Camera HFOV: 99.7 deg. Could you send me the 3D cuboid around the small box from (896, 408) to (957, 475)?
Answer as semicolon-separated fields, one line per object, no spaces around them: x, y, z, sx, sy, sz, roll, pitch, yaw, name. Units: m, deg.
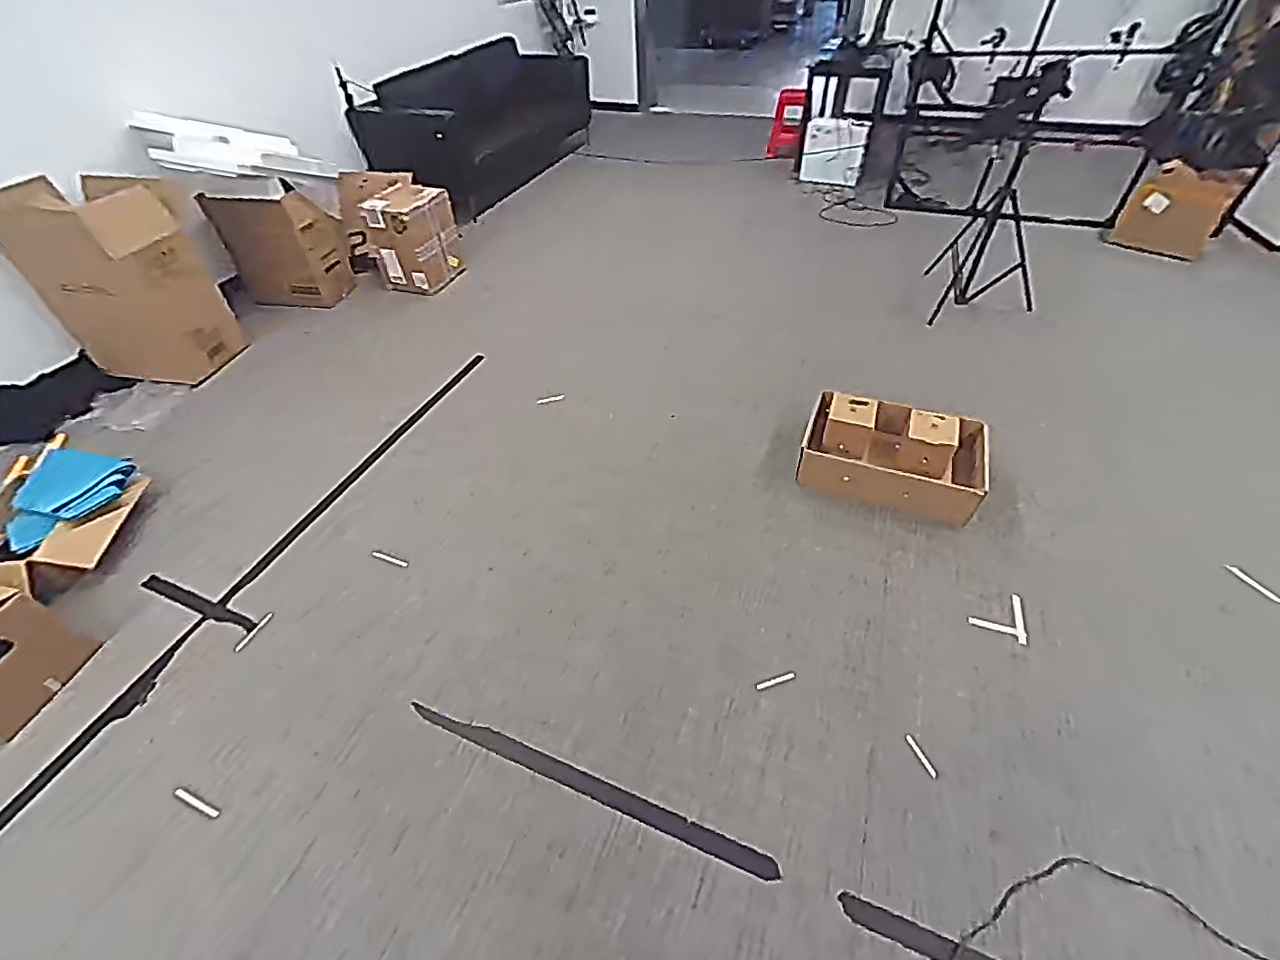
1.075;-0.142;2.035;0.168;0.176;0.179;15;50;21;small box
